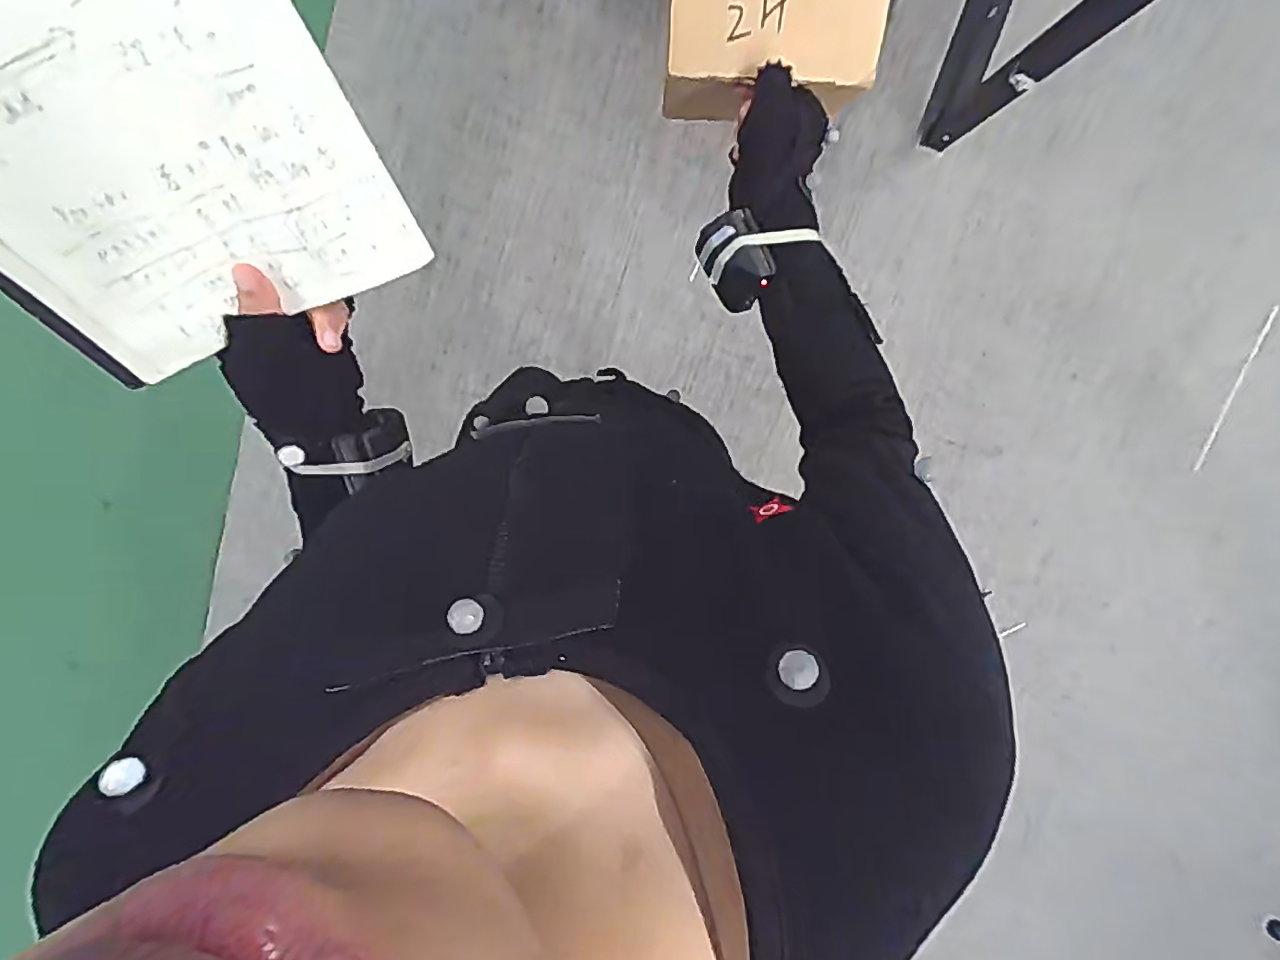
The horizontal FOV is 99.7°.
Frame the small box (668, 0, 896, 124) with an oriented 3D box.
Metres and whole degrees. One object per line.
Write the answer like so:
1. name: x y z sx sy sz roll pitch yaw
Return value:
1. small box: 0.113 -0.429 0.463 0.168 0.176 0.179 3 114 0
